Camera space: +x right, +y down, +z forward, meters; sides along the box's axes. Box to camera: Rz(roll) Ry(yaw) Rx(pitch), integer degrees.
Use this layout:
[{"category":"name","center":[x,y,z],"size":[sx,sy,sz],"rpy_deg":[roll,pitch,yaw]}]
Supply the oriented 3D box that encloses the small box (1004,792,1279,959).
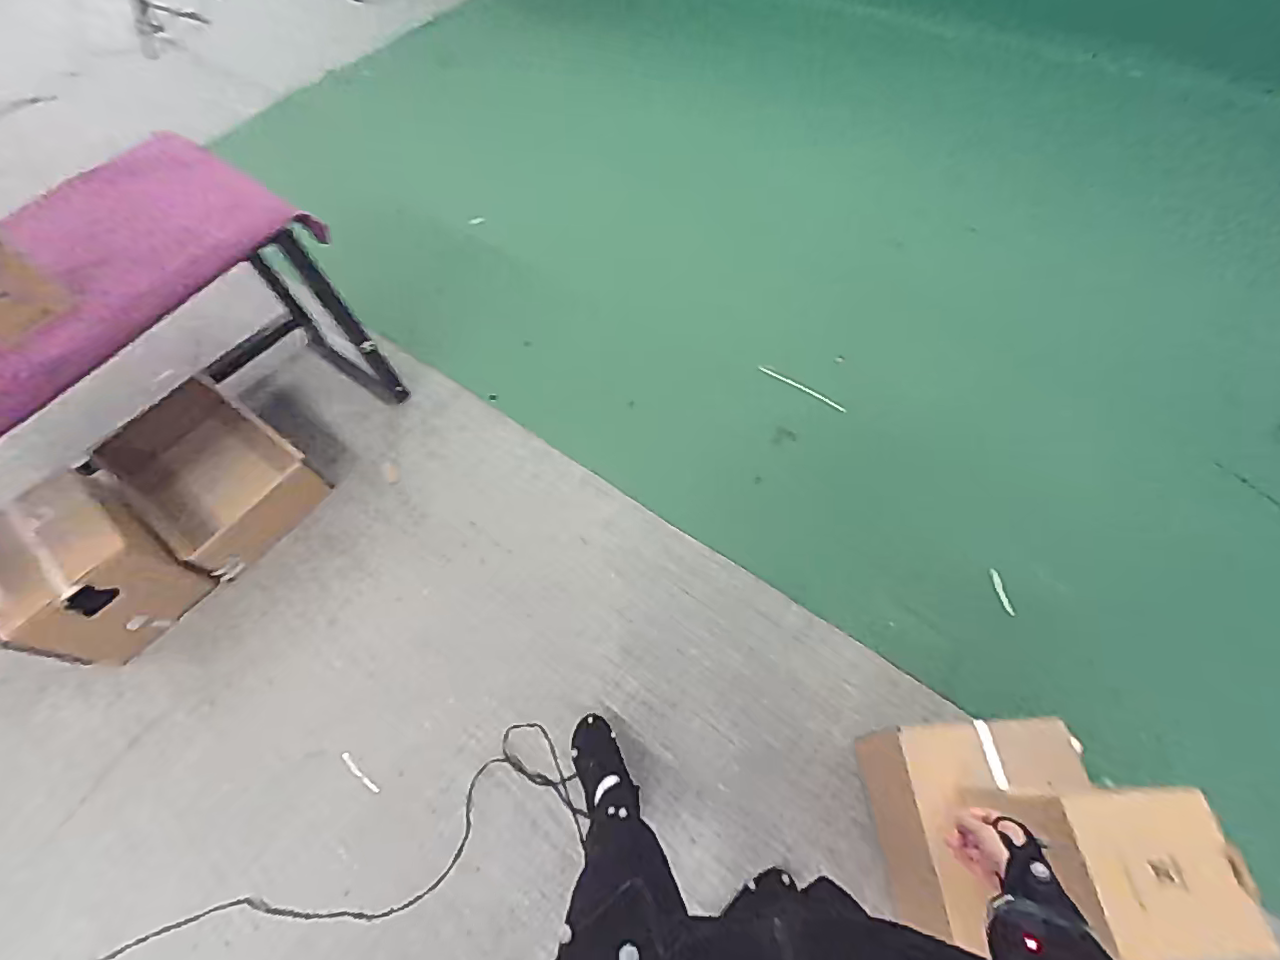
[{"category":"small box","center":[0.626,0.504,0.703],"size":[0.179,0.176,0.168],"rpy_deg":[-4,59,3]}]

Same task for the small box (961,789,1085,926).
[{"category":"small box","center":[0.645,0.581,0.845],"size":[0.179,0.176,0.168],"rpy_deg":[-2,60,5]}]
